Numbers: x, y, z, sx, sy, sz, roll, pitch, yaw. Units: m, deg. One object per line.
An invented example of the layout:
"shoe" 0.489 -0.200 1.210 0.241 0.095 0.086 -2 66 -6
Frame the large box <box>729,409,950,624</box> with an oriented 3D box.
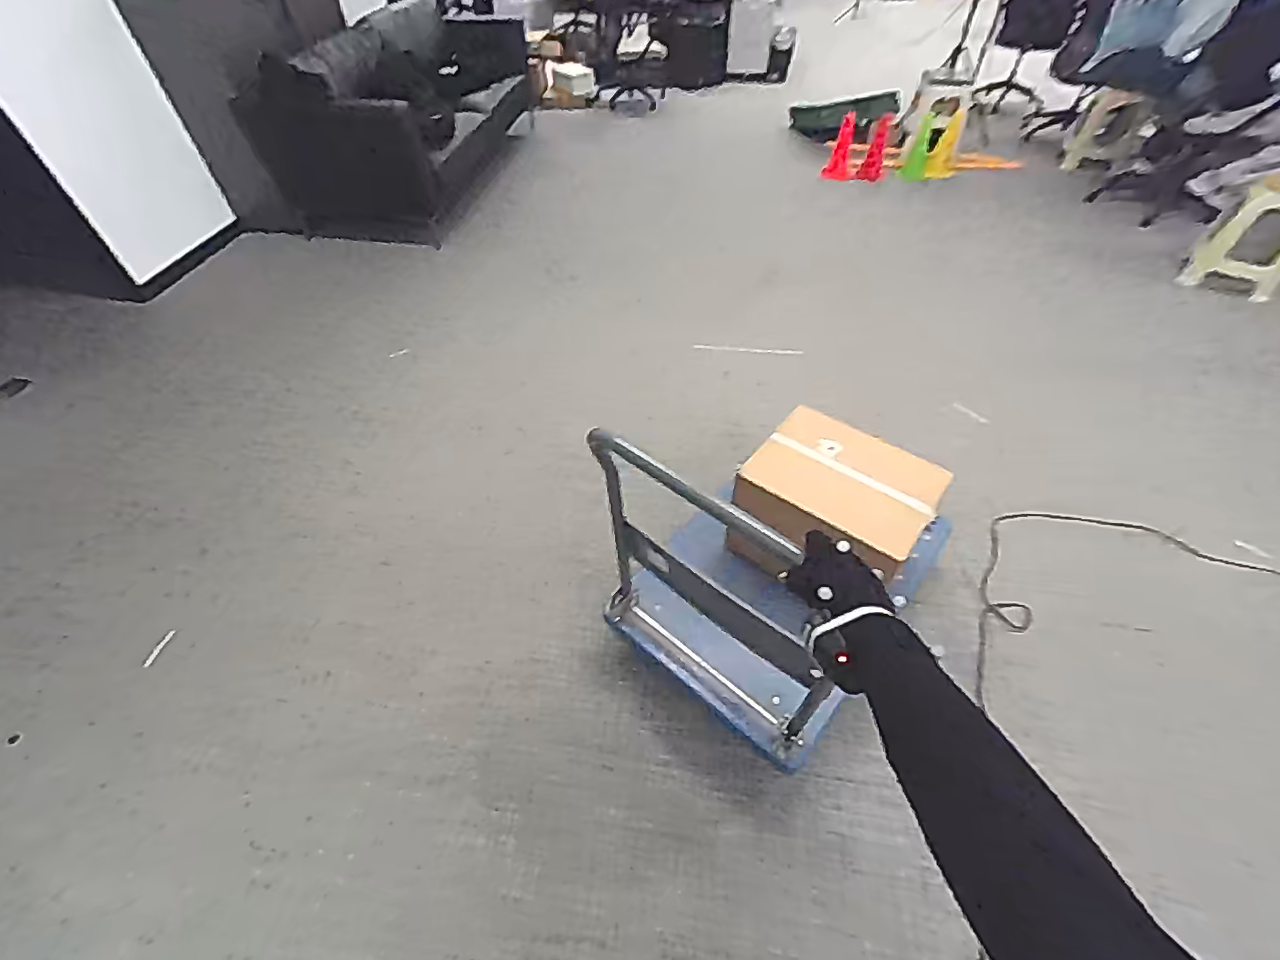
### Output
"large box" 0.486 0.088 1.384 0.408 0.320 0.320 31 55 27
